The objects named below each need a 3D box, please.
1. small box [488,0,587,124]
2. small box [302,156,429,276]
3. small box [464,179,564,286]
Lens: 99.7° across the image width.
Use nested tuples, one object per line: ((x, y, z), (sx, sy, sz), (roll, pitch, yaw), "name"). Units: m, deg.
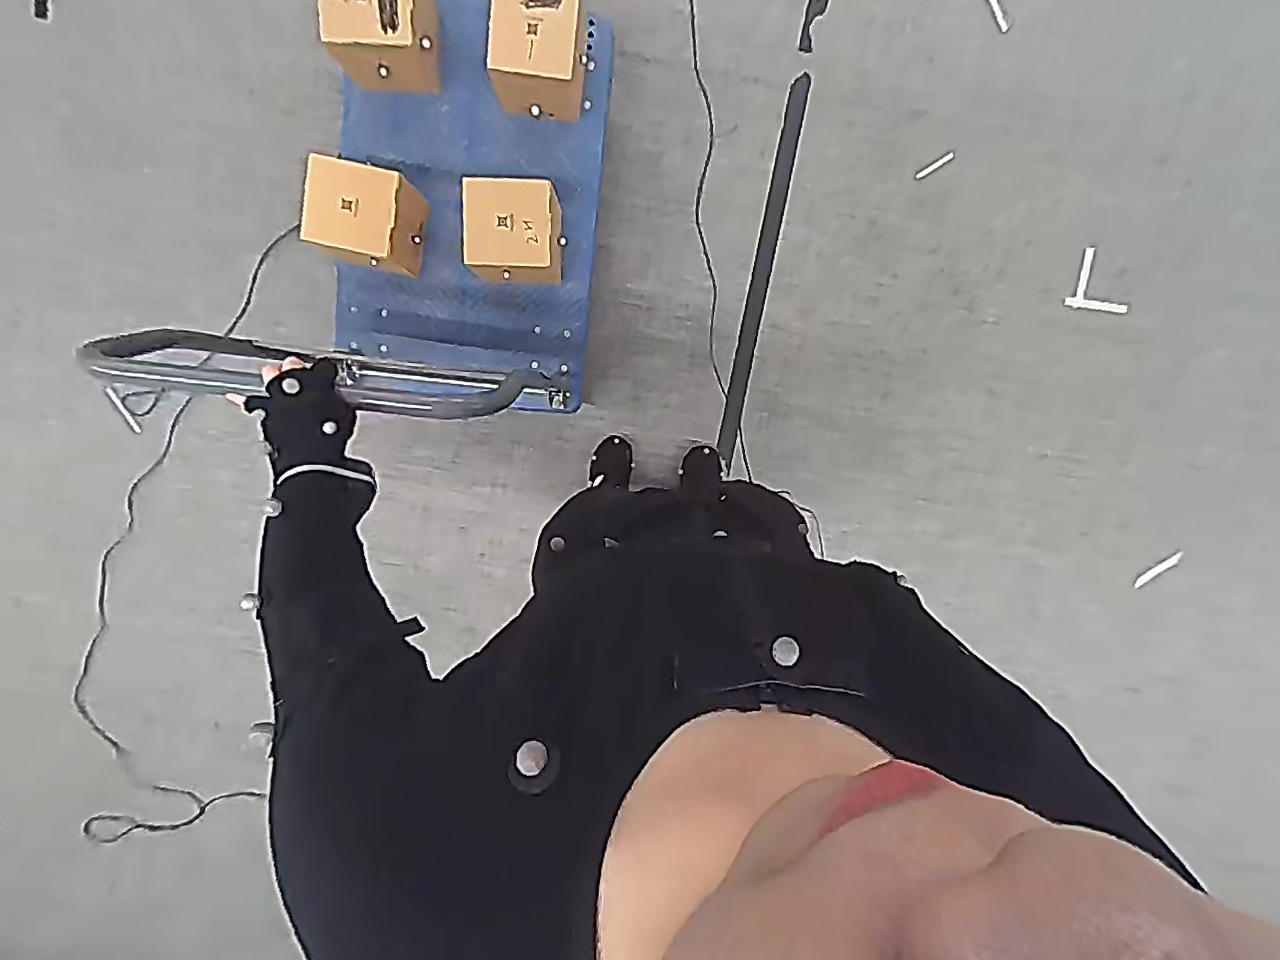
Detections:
((-0.201, -0.869, 1.100), (0.168, 0.176, 0.179), (7, 99, -2), "small box")
((-0.569, -0.544, 1.138), (0.179, 0.176, 0.168), (10, 97, -4), "small box")
((-0.262, -0.517, 1.149), (0.179, 0.176, 0.168), (1, 98, -1), "small box")
